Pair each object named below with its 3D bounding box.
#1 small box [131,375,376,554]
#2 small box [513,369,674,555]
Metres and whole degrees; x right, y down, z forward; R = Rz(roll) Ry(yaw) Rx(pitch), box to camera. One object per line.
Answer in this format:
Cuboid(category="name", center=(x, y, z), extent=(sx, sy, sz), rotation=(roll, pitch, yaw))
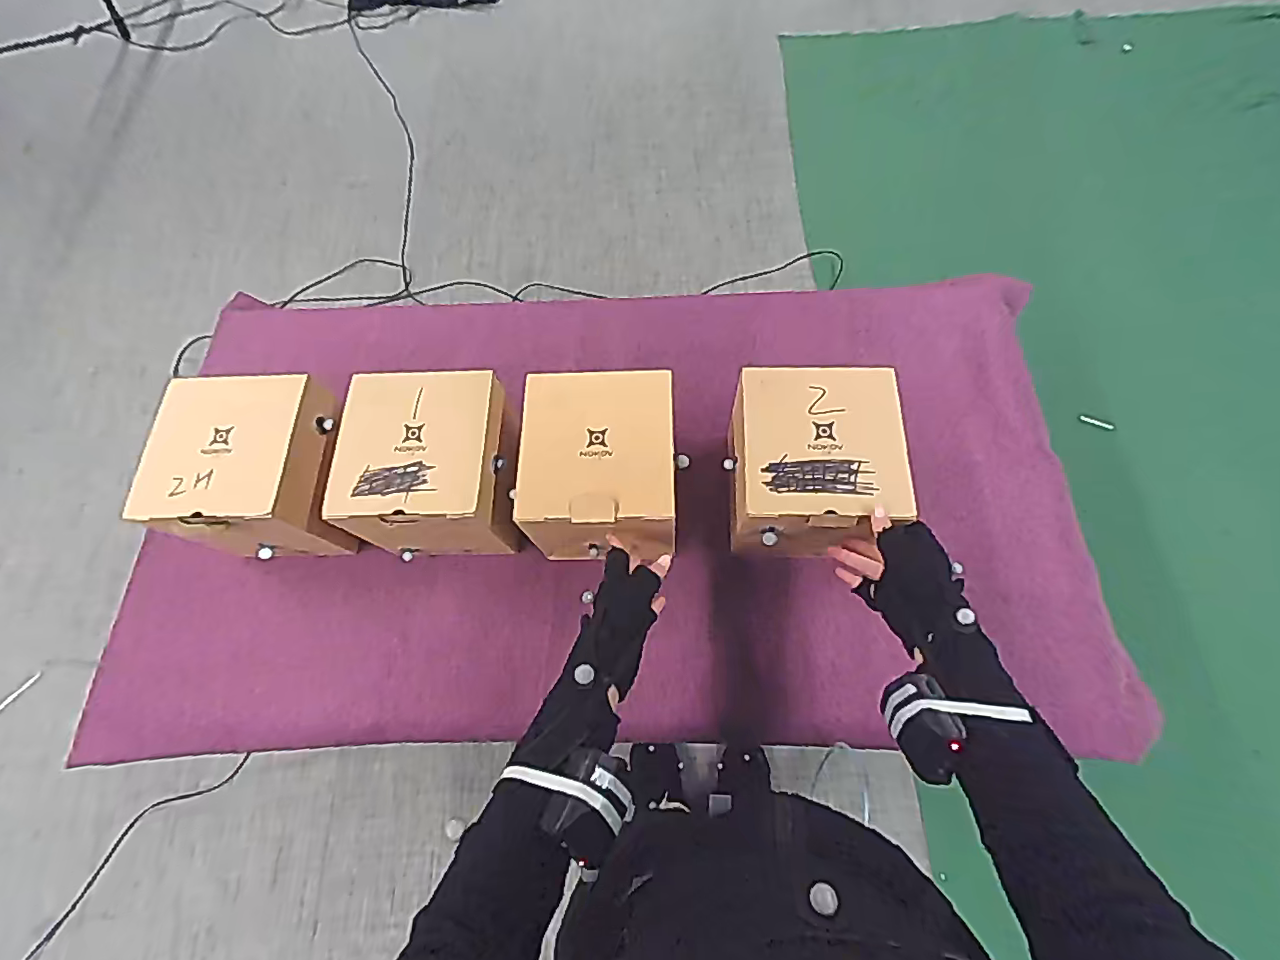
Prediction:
Cuboid(category="small box", center=(-0.458, -0.012, 0.677), extent=(0.168, 0.176, 0.179), rotation=(-2, 69, 3))
Cuboid(category="small box", center=(-0.044, -0.014, 0.655), extent=(0.168, 0.176, 0.179), rotation=(-1, 69, 4))
